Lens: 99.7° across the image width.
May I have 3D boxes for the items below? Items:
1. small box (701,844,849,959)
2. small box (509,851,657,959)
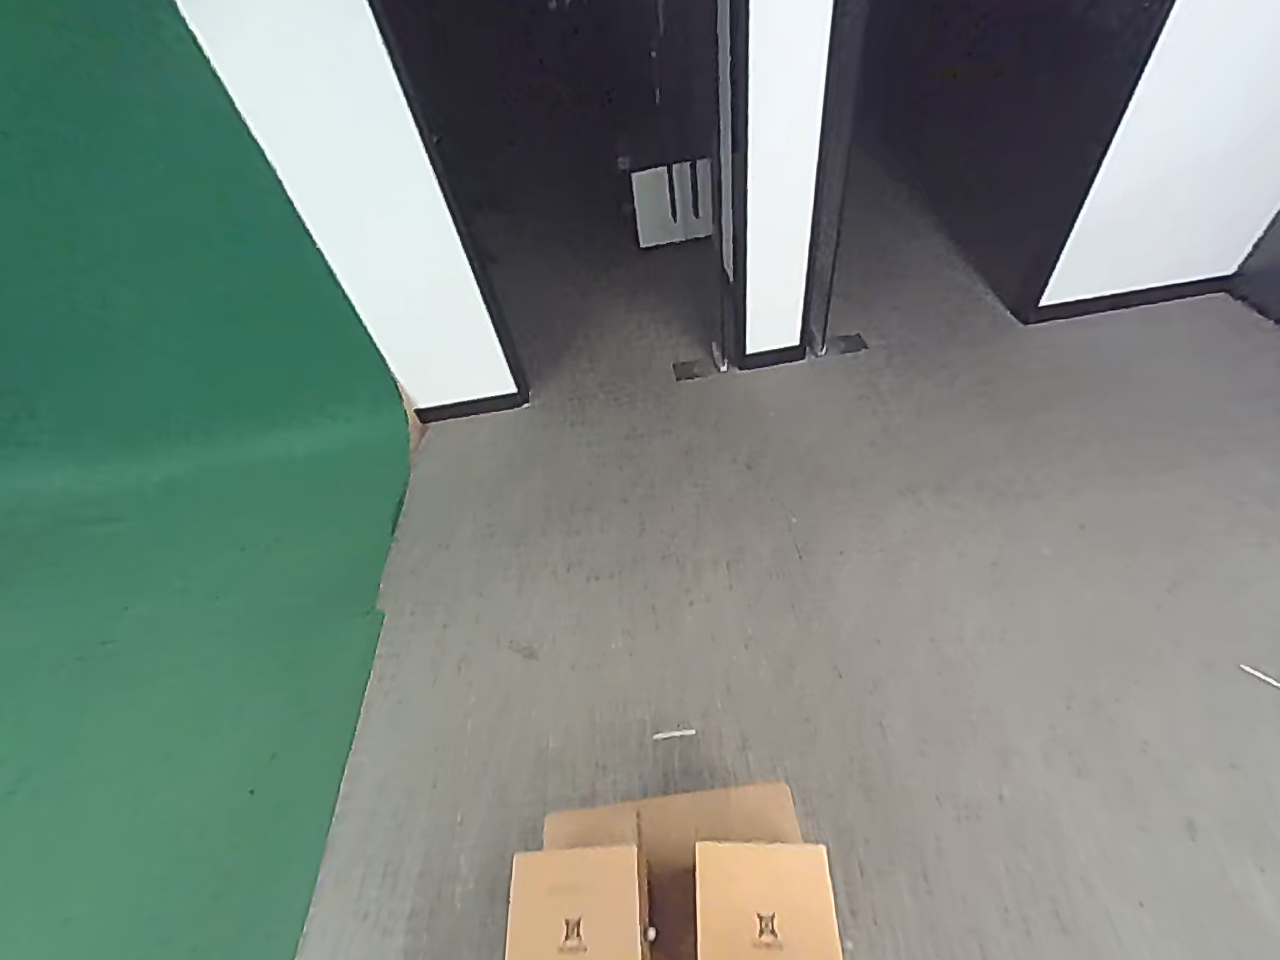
[{"bbox_3d":[0.165,0.581,0.685,0.168,0.176,0.179,-5,48,8],"label":"small box"},{"bbox_3d":[-0.067,0.606,0.708,0.168,0.176,0.179,-6,48,2],"label":"small box"}]
